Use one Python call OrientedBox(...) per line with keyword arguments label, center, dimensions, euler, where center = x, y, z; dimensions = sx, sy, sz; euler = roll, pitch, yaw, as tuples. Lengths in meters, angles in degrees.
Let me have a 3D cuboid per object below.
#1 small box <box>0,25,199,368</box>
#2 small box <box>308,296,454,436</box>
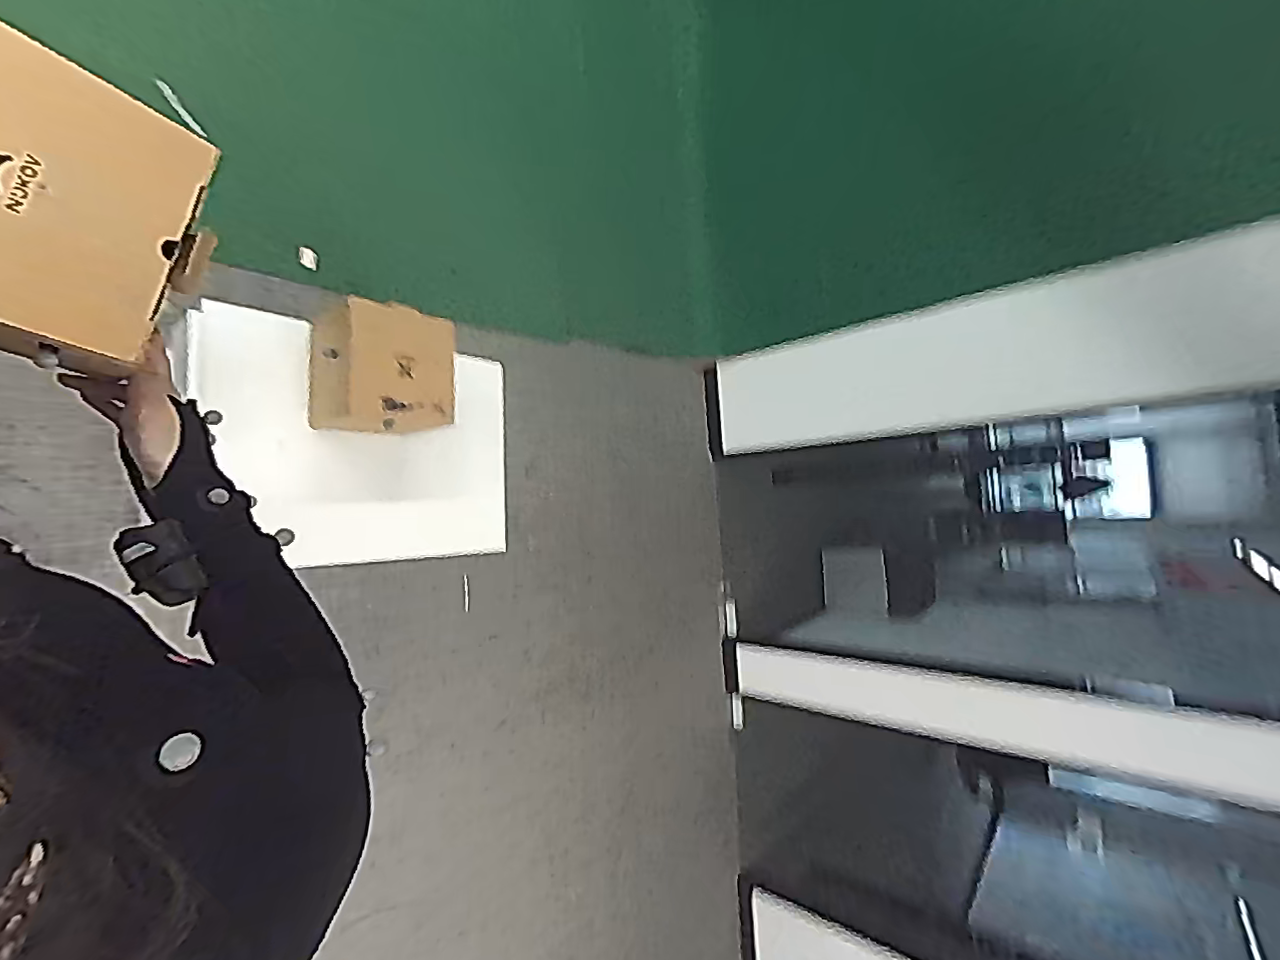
OrientedBox(label="small box", center=(-0.435, -0.181, 0.352), dimensions=(0.179, 0.176, 0.168), euler=(20, 78, -48))
OrientedBox(label="small box", center=(-0.424, -0.173, 0.883), dimensions=(0.168, 0.176, 0.179), euler=(2, 86, -49))
